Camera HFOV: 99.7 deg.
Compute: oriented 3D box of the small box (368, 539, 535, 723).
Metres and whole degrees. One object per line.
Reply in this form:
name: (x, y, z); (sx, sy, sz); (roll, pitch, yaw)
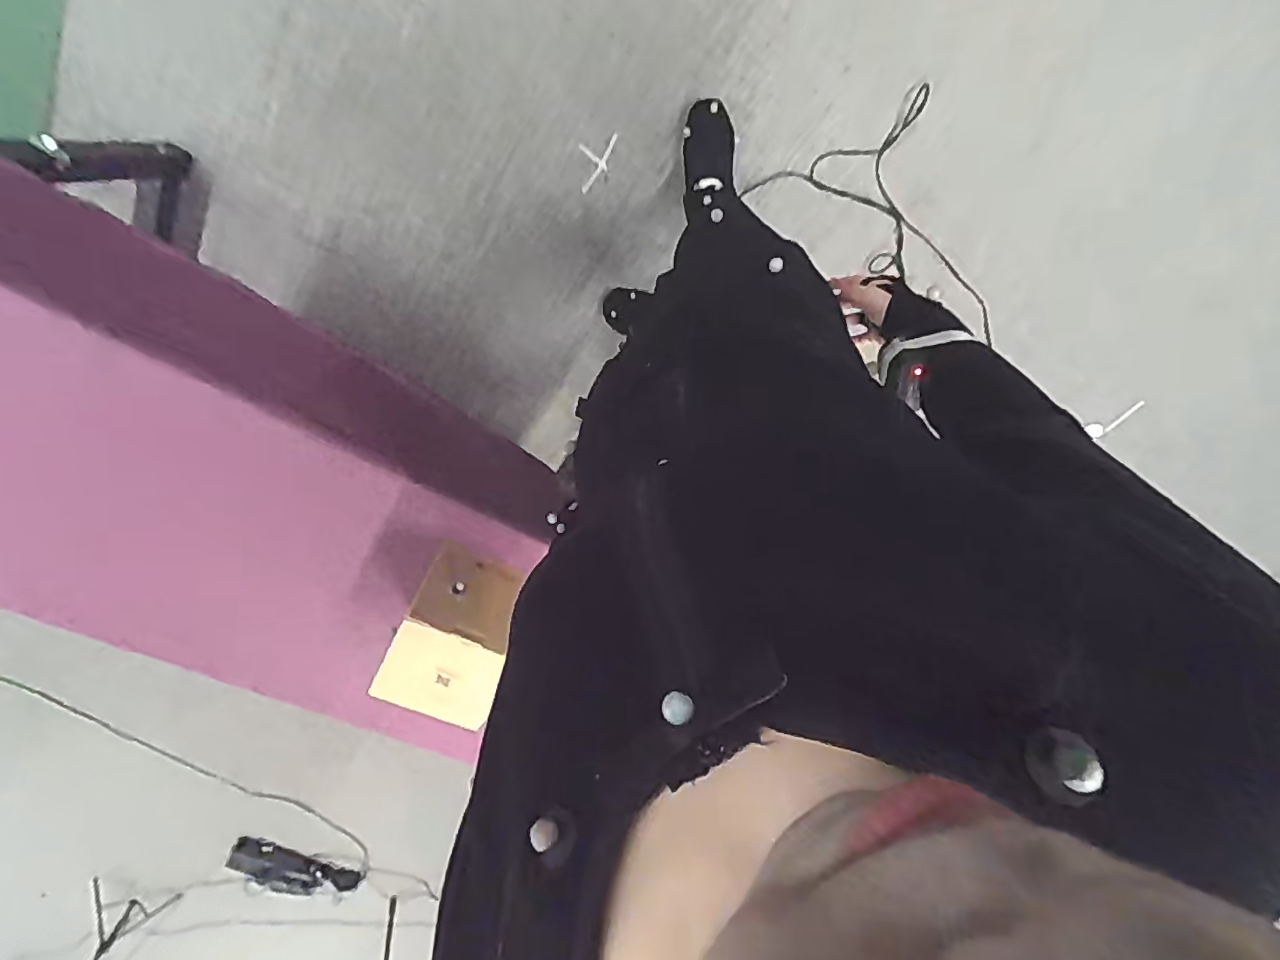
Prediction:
small box: (-0.269, 0.219, 0.808); (0.168, 0.176, 0.179); (28, 119, -15)
